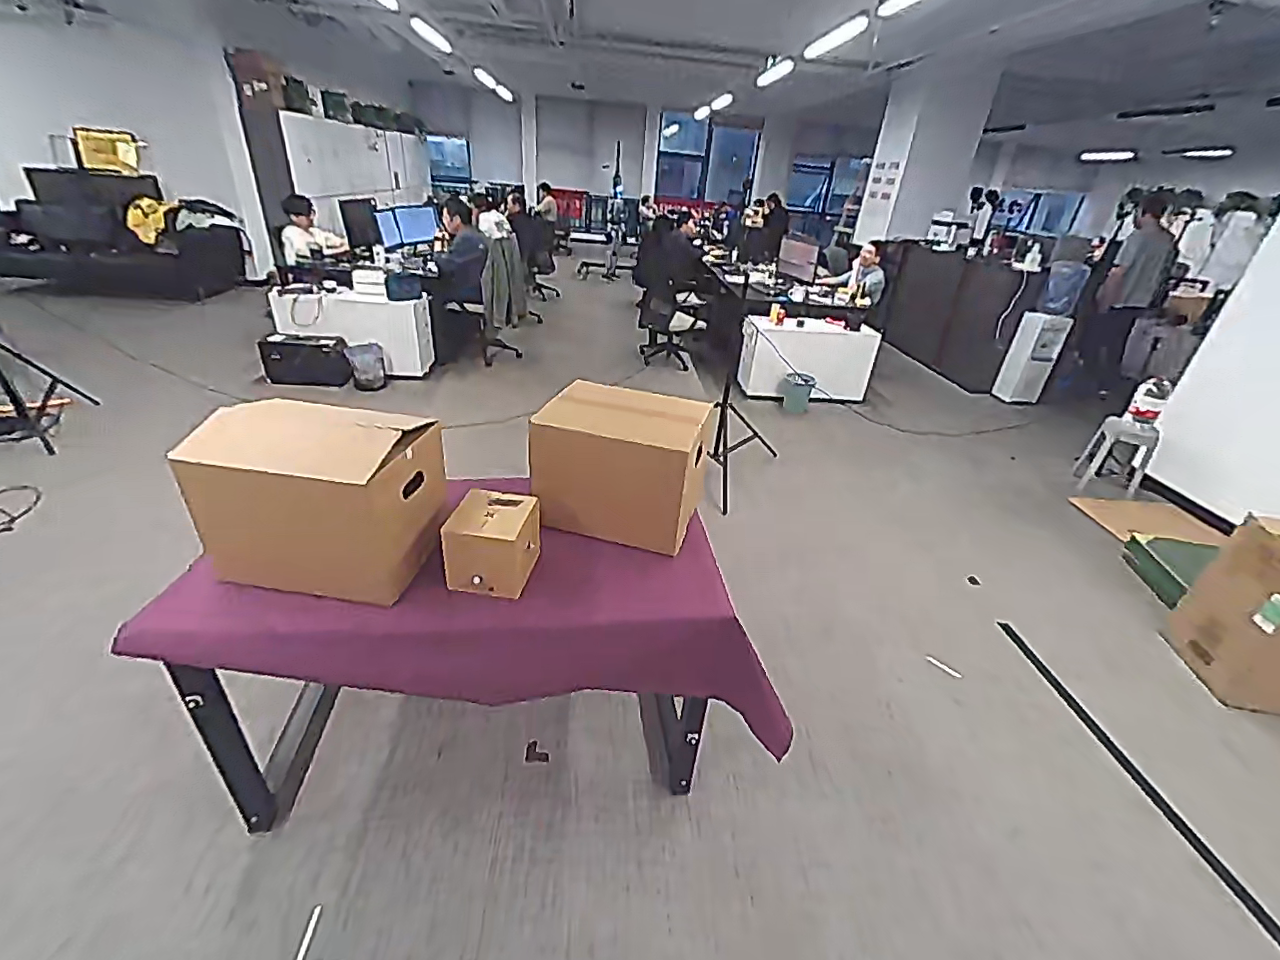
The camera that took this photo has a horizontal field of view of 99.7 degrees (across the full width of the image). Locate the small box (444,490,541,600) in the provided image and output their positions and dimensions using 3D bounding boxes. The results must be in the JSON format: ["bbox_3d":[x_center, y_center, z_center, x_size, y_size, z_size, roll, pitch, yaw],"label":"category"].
[{"bbox_3d":[-0.331,0.147,1.242,0.168,0.176,0.179,7,30,4],"label":"small box"}]
